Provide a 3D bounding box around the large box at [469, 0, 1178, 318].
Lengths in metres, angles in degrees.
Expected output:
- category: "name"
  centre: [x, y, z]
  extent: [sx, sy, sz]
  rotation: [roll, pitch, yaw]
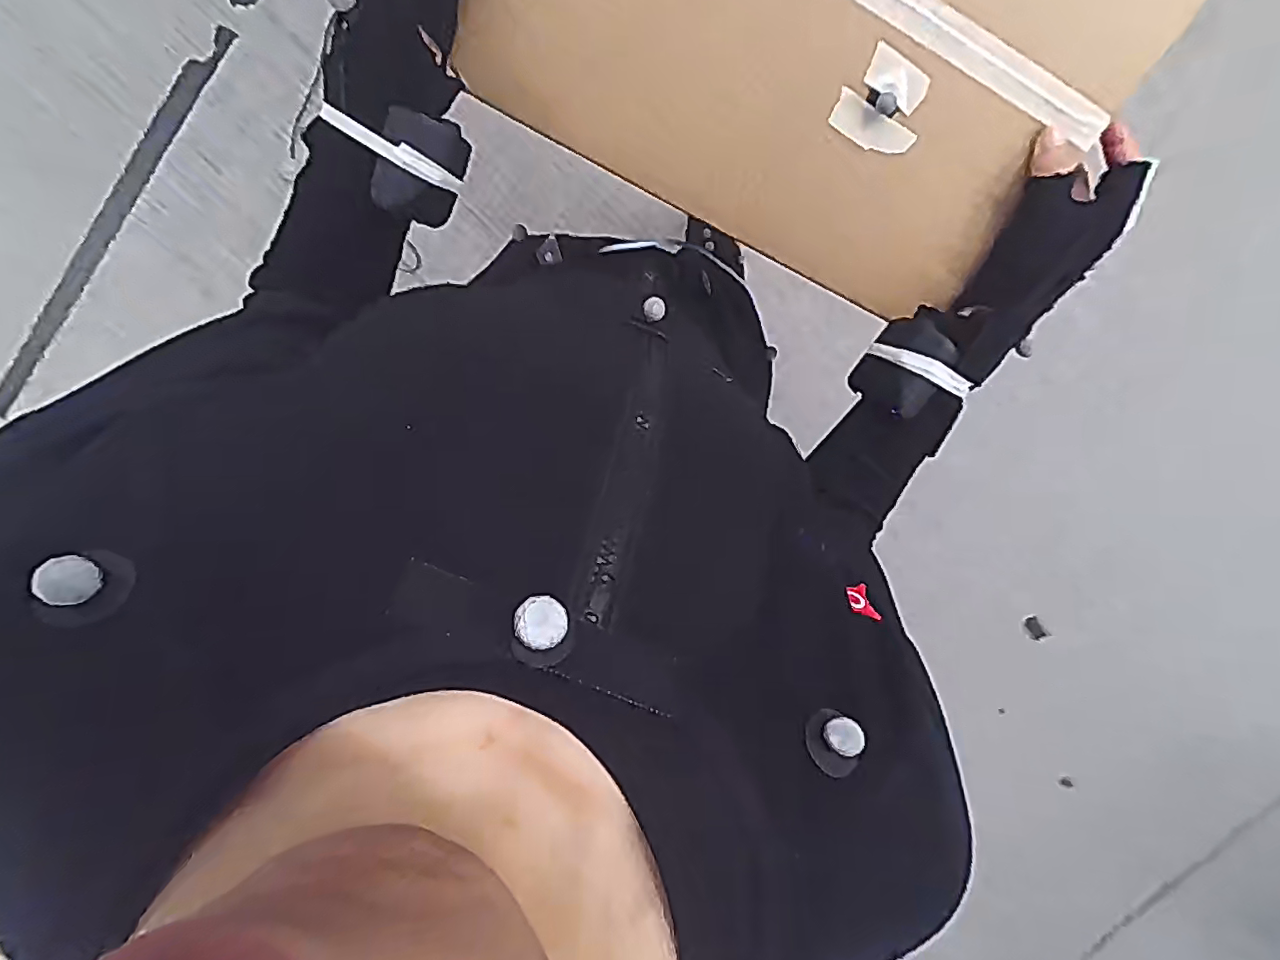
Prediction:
- category: "large box"
  centre: [0.127, -0.401, 0.454]
  extent: [0.408, 0.320, 0.320]
  rotation: [23, 125, -12]
